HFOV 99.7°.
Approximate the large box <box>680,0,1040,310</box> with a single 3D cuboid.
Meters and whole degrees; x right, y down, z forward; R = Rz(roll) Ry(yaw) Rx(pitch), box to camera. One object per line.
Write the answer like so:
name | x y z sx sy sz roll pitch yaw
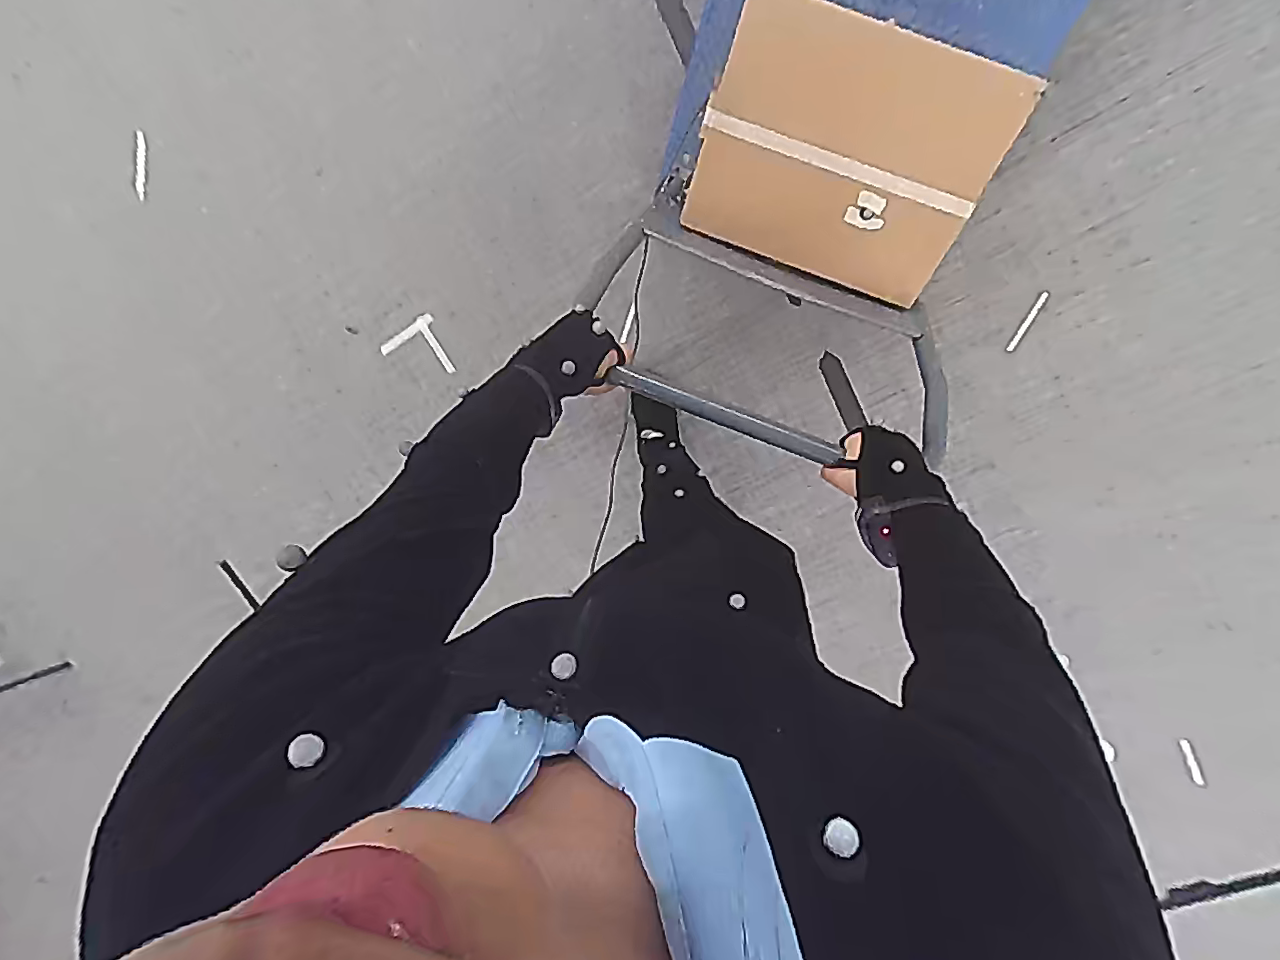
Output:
large box | 0.319 -0.539 0.899 0.408 0.320 0.320 20 131 1
